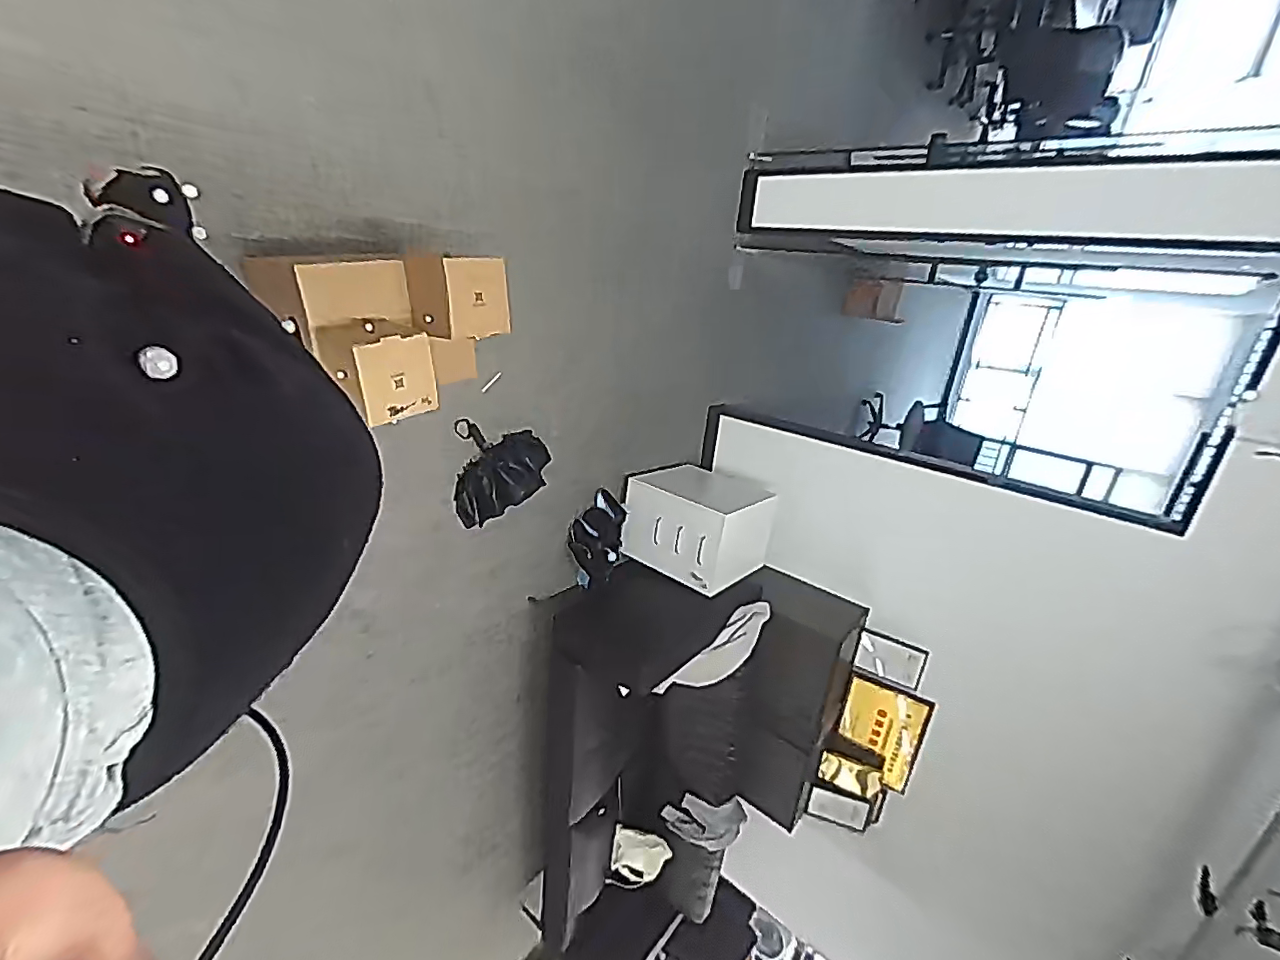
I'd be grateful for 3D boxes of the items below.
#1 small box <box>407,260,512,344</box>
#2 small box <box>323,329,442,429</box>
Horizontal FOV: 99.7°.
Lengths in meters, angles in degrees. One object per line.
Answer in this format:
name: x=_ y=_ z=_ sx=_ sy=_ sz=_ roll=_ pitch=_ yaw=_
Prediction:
small box: x=-0.429 y=-0.430 z=1.291 sx=0.168 sy=0.176 sz=0.179 roll=-26 pitch=123 yaw=-46
small box: x=-0.570 y=-0.233 z=1.198 sx=0.168 sy=0.176 sz=0.179 roll=-29 pitch=129 yaw=-43
